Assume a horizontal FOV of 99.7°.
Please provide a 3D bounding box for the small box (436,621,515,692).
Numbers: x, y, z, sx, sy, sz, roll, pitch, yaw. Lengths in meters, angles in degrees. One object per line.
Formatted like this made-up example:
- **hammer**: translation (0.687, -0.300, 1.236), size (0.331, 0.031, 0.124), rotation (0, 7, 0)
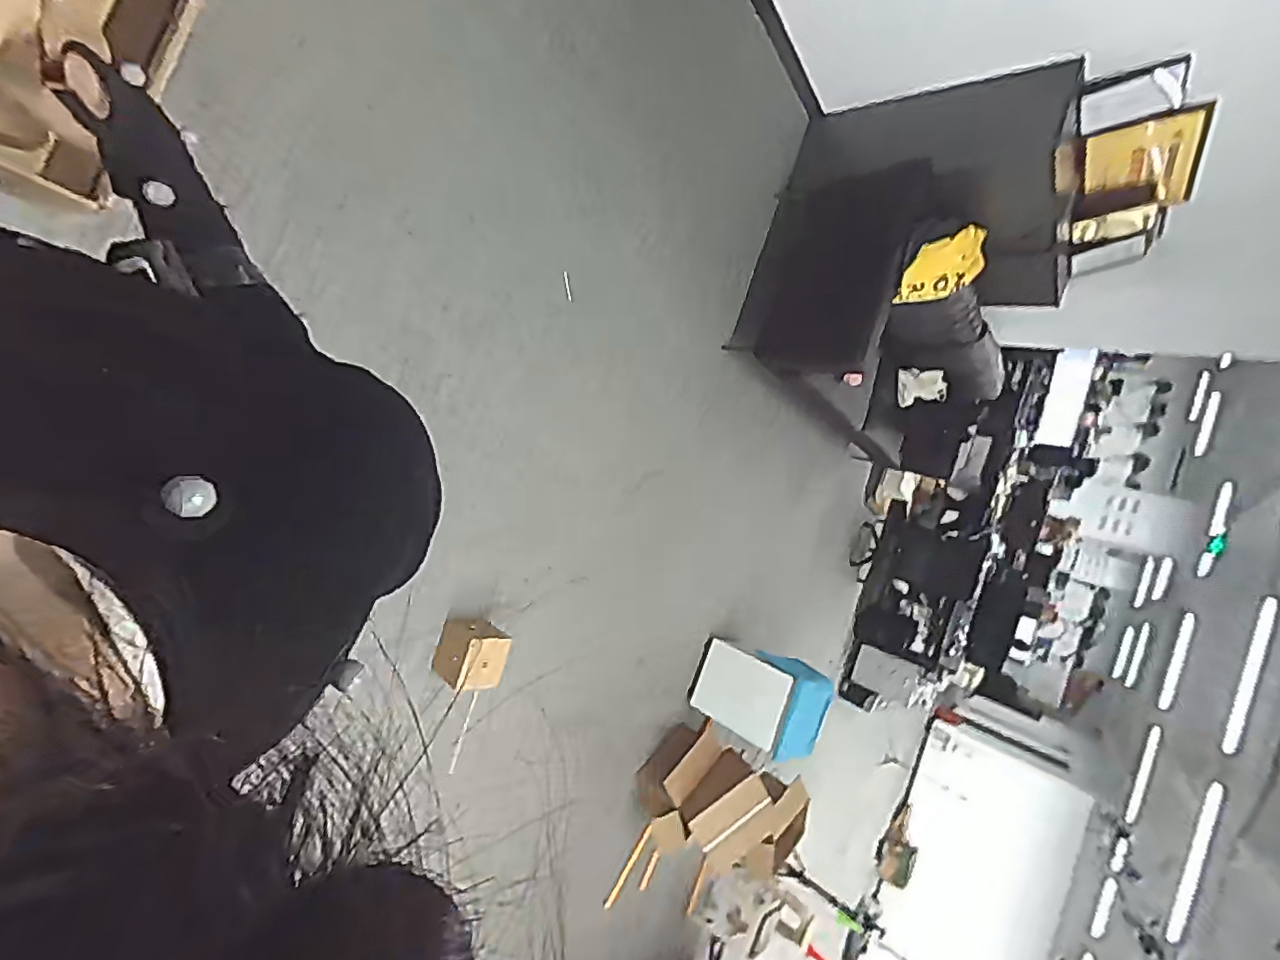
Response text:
- **small box**: translation (-0.555, 0.585, 1.812), size (0.168, 0.176, 0.179), rotation (20, 88, -49)

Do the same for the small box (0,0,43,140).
- **small box**: translation (-0.522, -0.340, 0.348), size (0.179, 0.176, 0.168), rotation (-5, 114, -50)
